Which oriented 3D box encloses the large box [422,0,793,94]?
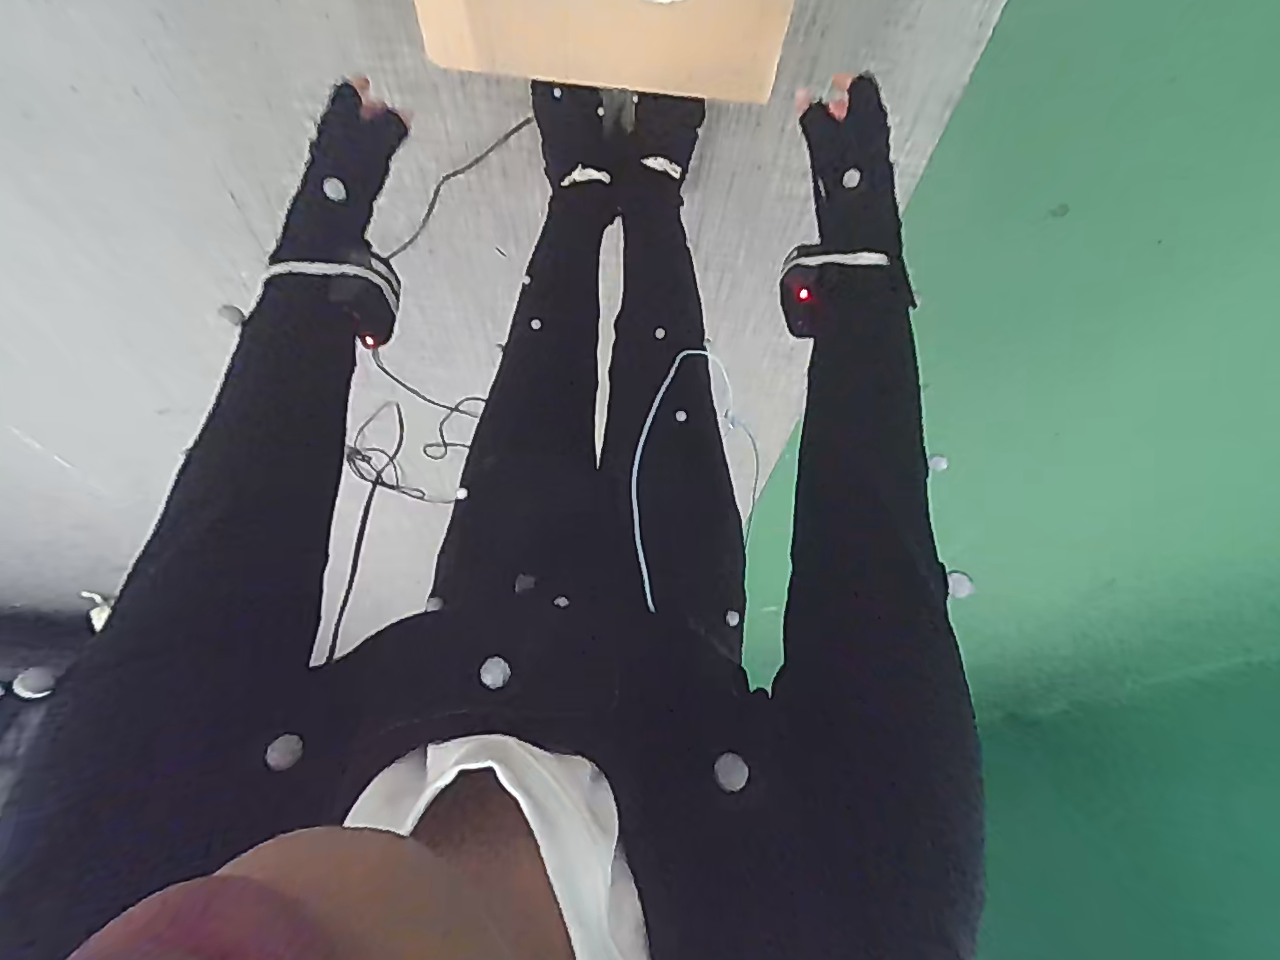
[{"bbox_3d":[-0.026,-0.677,0.588,0.408,0.320,0.320,5,148,-2],"label":"large box"}]
